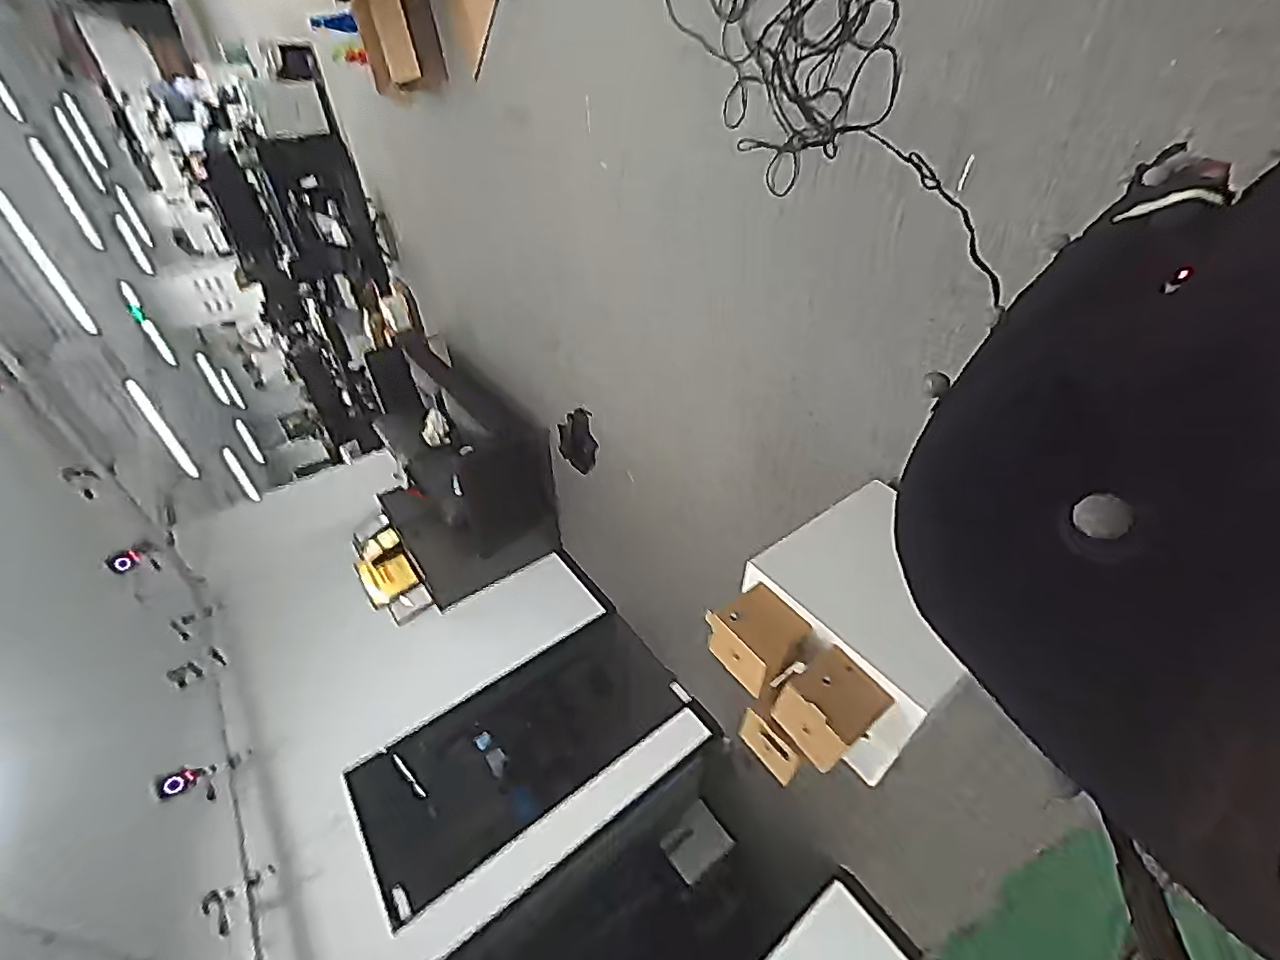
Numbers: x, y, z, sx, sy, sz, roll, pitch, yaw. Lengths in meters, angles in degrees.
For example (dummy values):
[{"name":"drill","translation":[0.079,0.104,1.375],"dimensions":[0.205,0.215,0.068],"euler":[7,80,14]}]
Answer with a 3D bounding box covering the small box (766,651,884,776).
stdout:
[{"name":"small box","translation":[0.419,0.522,1.223],"dimensions":[0.168,0.176,0.179],"euler":[46,149,34]}]
